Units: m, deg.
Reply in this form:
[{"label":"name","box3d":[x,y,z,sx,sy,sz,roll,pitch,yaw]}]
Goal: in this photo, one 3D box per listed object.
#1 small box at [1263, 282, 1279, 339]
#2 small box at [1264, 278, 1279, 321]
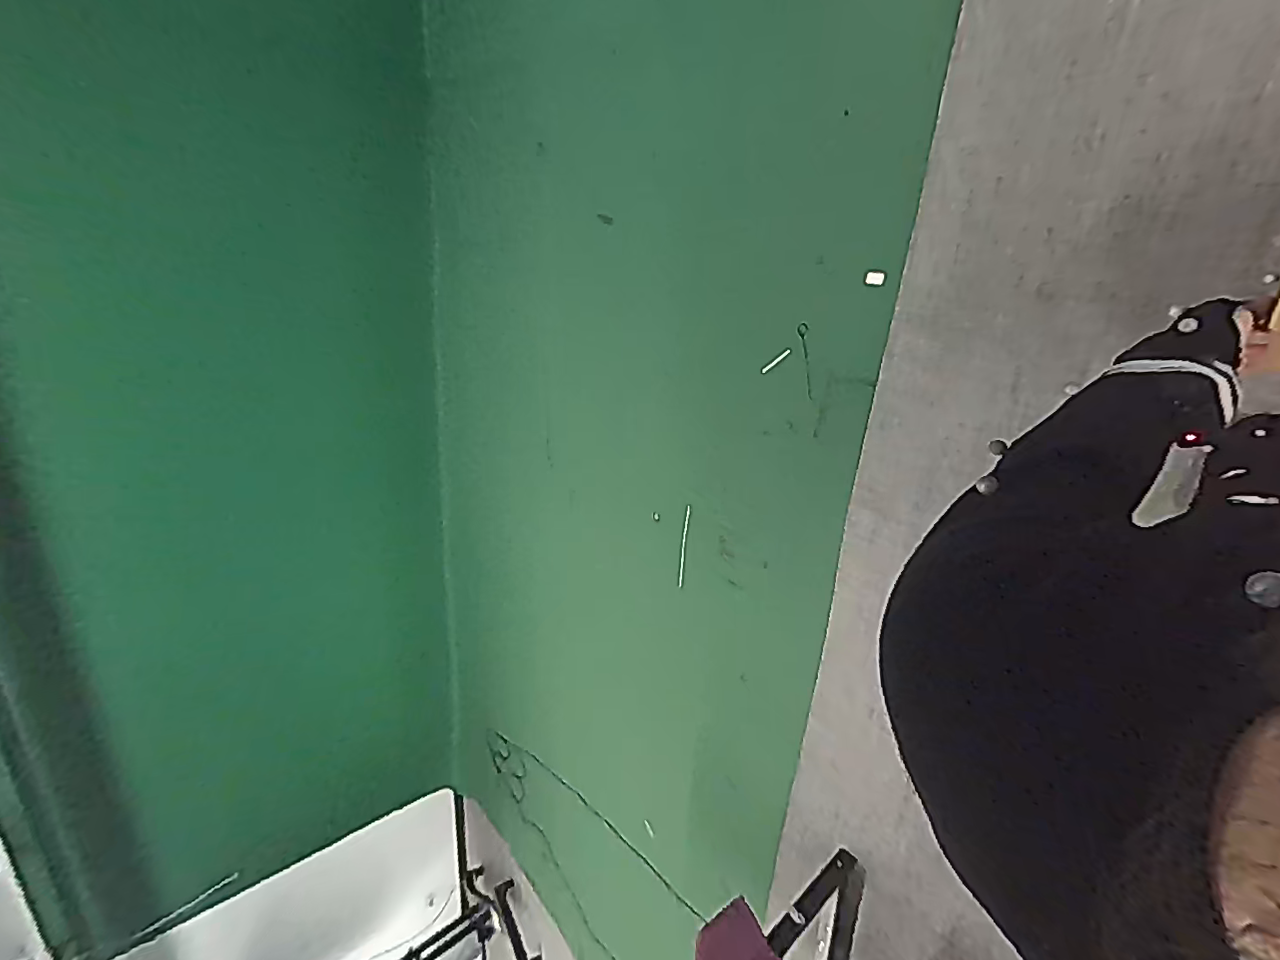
[{"label":"small box","box3d":[0.654,-0.198,0.432,0.168,0.176,0.179,21,116,43]},{"label":"small box","box3d":[0.776,-0.238,0.535,0.168,0.176,0.179,24,117,42]}]
